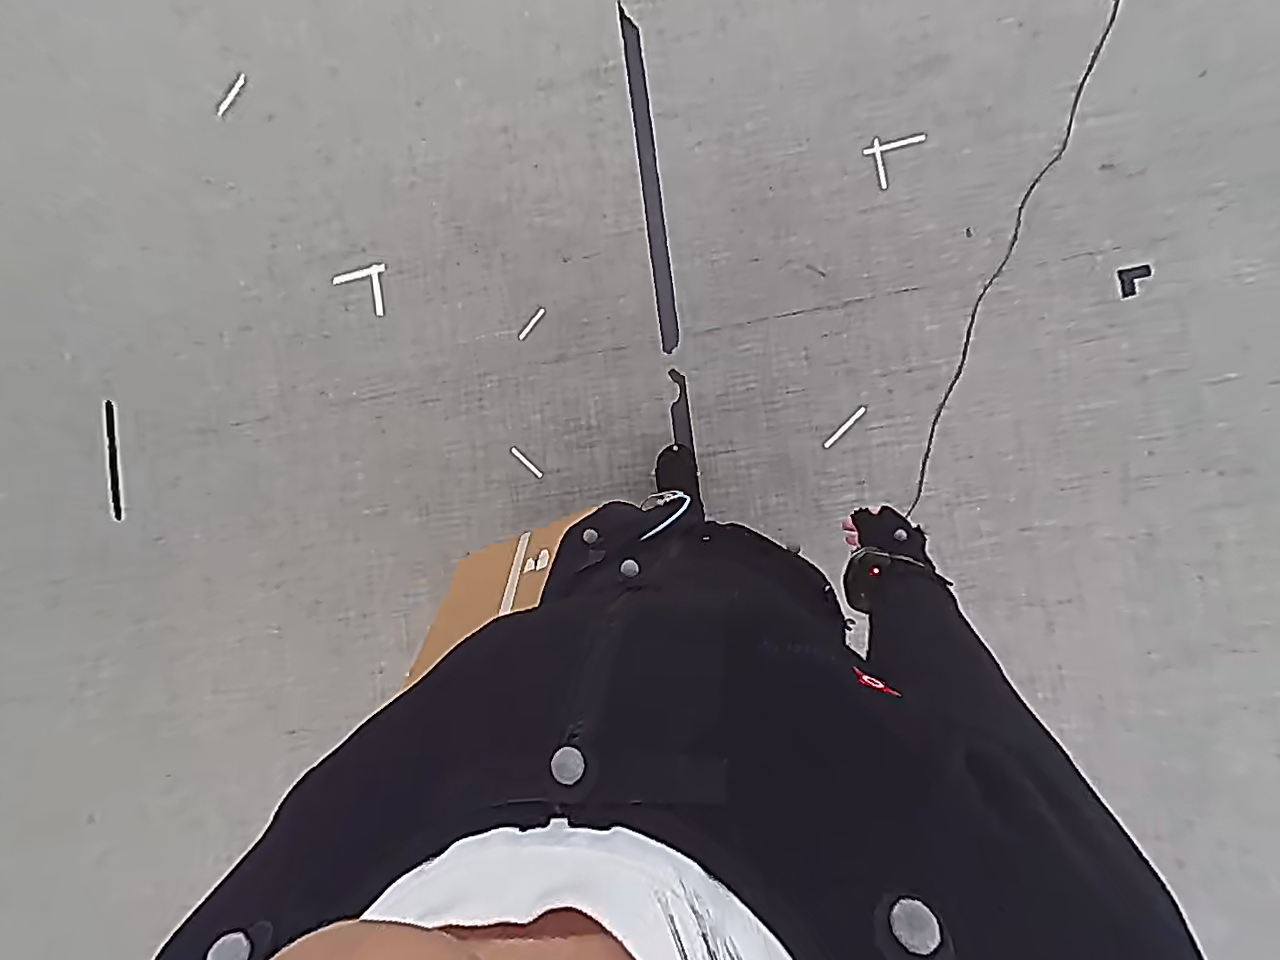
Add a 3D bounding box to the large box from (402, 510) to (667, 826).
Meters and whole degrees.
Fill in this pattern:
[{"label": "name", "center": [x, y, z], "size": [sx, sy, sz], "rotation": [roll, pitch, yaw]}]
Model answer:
[{"label": "large box", "center": [-0.159, 0.320, 0.997], "size": [0.320, 0.408, 0.320], "rotation": [-20, 114, 7]}]
